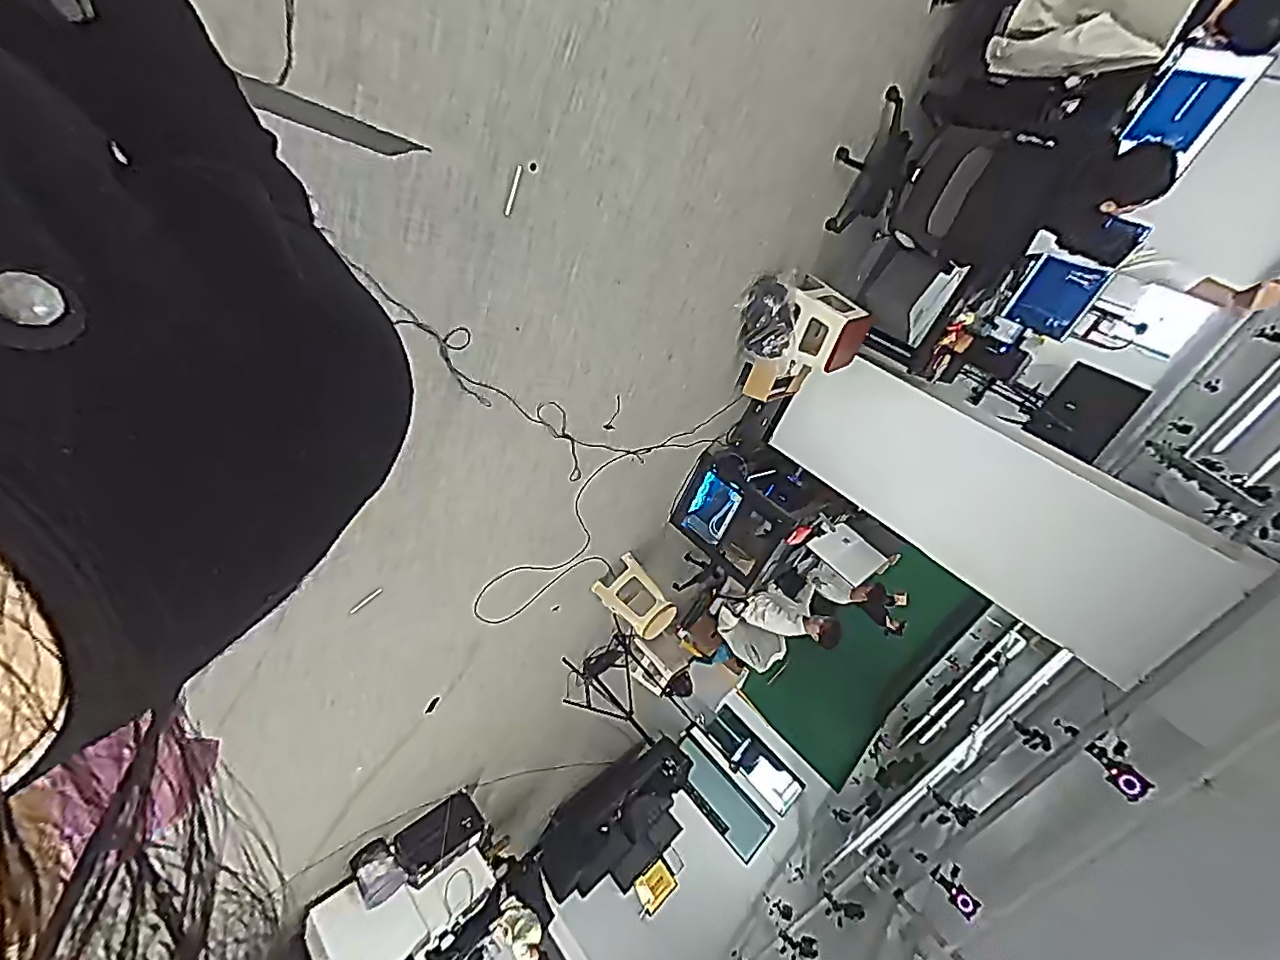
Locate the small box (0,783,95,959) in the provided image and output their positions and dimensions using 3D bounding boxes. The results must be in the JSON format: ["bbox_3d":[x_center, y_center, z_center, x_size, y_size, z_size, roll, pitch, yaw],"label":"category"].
[{"bbox_3d":[-0.733,0.478,0.581,0.179,0.176,0.168,-16,139,-48],"label":"small box"}]

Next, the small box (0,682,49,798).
[{"bbox_3d":[-0.843,0.385,0.654,0.168,0.176,0.179,-14,136,-49],"label":"small box"}]
